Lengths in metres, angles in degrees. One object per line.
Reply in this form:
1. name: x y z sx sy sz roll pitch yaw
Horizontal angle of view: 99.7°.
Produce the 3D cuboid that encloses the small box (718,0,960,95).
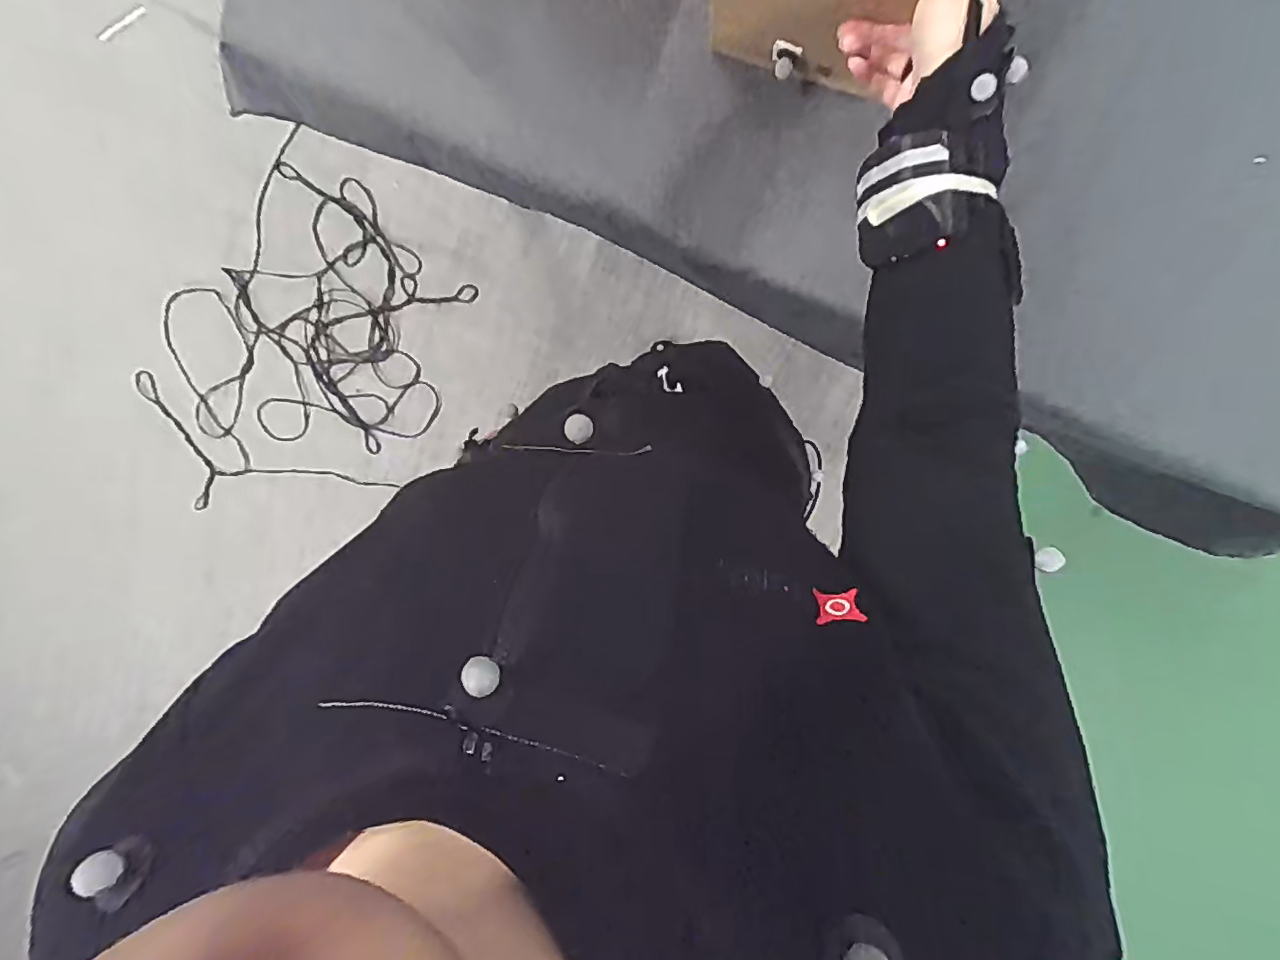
1. small box: 0.156 -0.423 0.384 0.168 0.176 0.179 17 106 2
